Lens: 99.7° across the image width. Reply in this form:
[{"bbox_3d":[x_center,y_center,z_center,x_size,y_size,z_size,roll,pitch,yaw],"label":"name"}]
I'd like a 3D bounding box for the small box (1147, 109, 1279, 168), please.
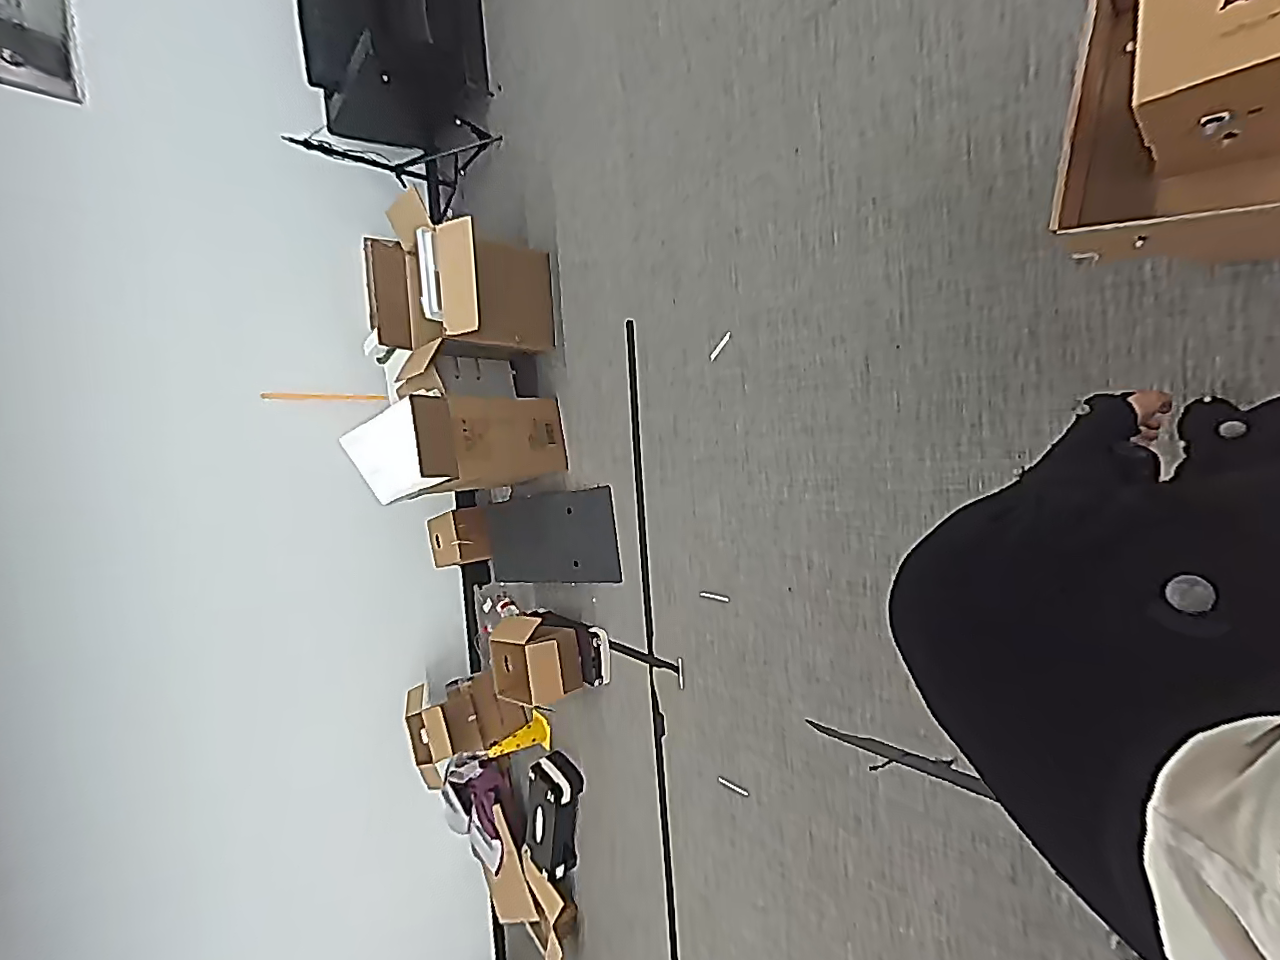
[{"bbox_3d":[0.847,-0.566,0.755,0.179,0.176,0.168,9,102,46],"label":"small box"}]

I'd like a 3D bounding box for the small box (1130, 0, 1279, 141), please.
[{"bbox_3d":[0.719,-0.554,0.653,0.168,0.176,0.179,6,99,48],"label":"small box"}]
